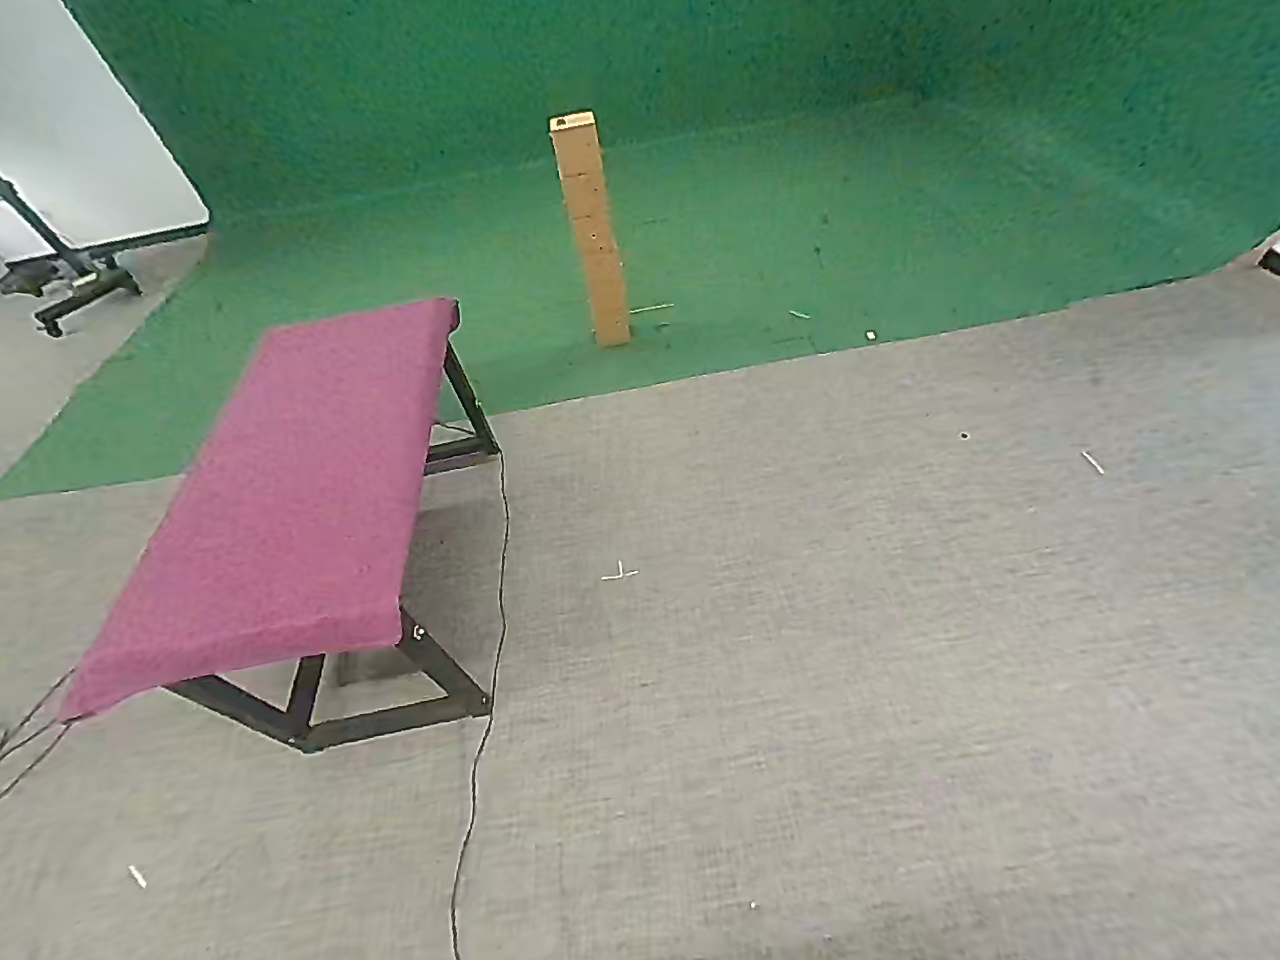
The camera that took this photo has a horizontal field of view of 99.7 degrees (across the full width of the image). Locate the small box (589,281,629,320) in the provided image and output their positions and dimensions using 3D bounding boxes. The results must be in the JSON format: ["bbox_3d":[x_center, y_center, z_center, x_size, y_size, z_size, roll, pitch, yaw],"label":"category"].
[{"bbox_3d":[-0.157,-0.918,2.676,0.179,0.176,0.168,-13,49,0],"label":"small box"}]

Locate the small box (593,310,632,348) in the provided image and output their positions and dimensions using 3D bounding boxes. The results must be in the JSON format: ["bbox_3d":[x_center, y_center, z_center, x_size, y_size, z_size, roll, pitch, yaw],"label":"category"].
[{"bbox_3d":[-0.141,-0.809,2.796,0.179,0.176,0.168,-11,48,1],"label":"small box"}]

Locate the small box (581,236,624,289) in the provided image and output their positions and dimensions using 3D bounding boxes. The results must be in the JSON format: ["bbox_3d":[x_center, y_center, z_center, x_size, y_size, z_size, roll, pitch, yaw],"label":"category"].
[{"bbox_3d":[-0.182,-1.025,2.555,0.179,0.176,0.168,-14,49,-2],"label":"small box"}]

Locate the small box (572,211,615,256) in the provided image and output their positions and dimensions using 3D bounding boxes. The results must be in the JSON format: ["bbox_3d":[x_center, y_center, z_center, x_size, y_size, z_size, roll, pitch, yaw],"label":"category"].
[{"bbox_3d":[-0.212,-1.130,2.434,0.168,0.176,0.179,-13,49,0],"label":"small box"}]

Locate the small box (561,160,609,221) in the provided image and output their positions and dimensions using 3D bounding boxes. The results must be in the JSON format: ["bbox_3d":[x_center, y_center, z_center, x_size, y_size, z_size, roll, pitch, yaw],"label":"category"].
[{"bbox_3d":[-0.232,-1.238,2.313,0.179,0.176,0.168,-13,47,1],"label":"small box"}]
